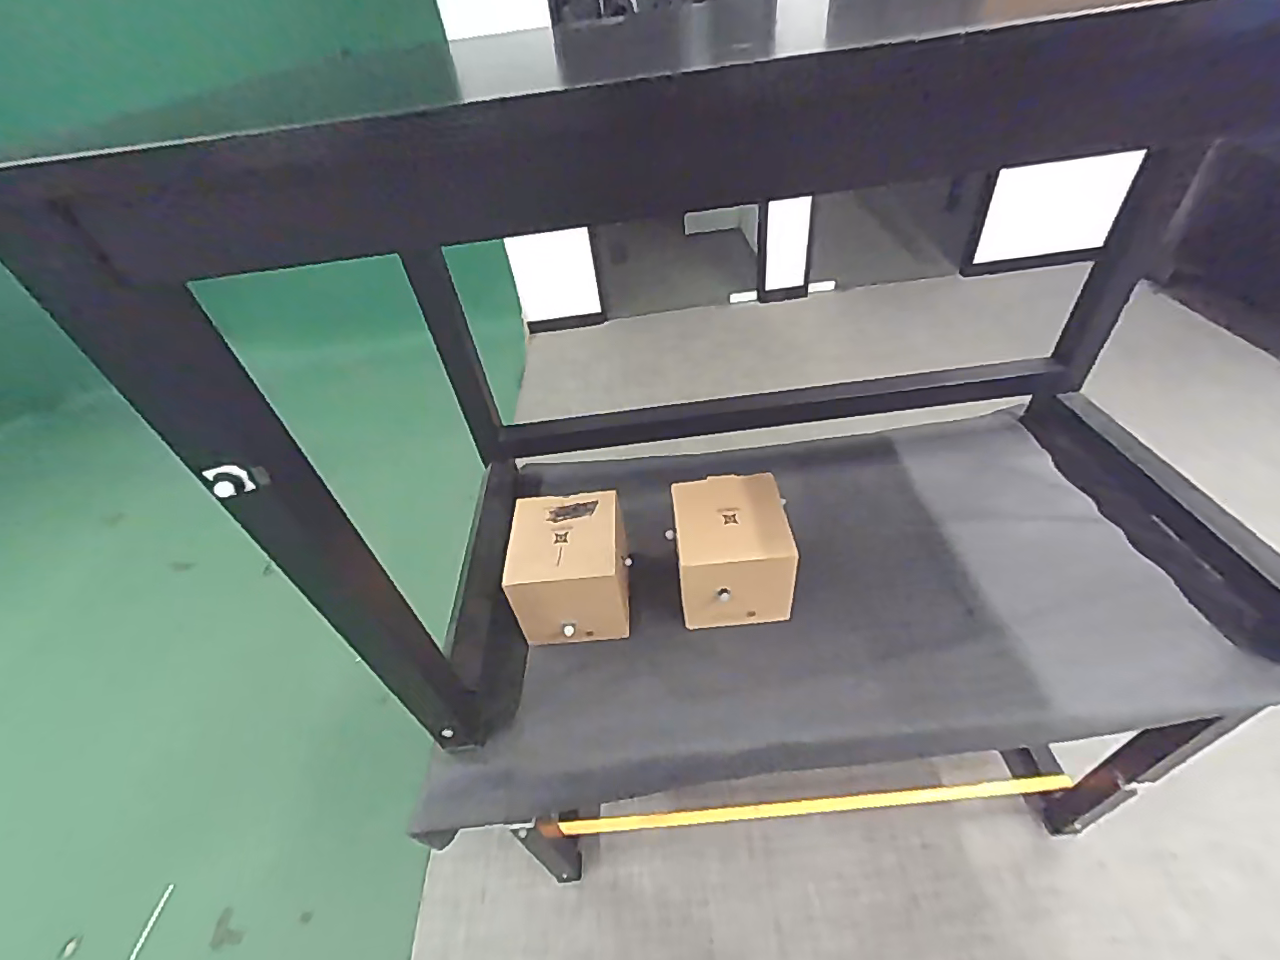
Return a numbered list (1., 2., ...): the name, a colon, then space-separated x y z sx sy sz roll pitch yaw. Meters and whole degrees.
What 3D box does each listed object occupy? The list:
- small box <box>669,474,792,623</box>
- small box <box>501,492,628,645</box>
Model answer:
1. small box: 0.140 0.116 0.871 0.168 0.176 0.179 -6 42 2
2. small box: -0.112 0.143 0.879 0.168 0.176 0.179 -6 43 3
